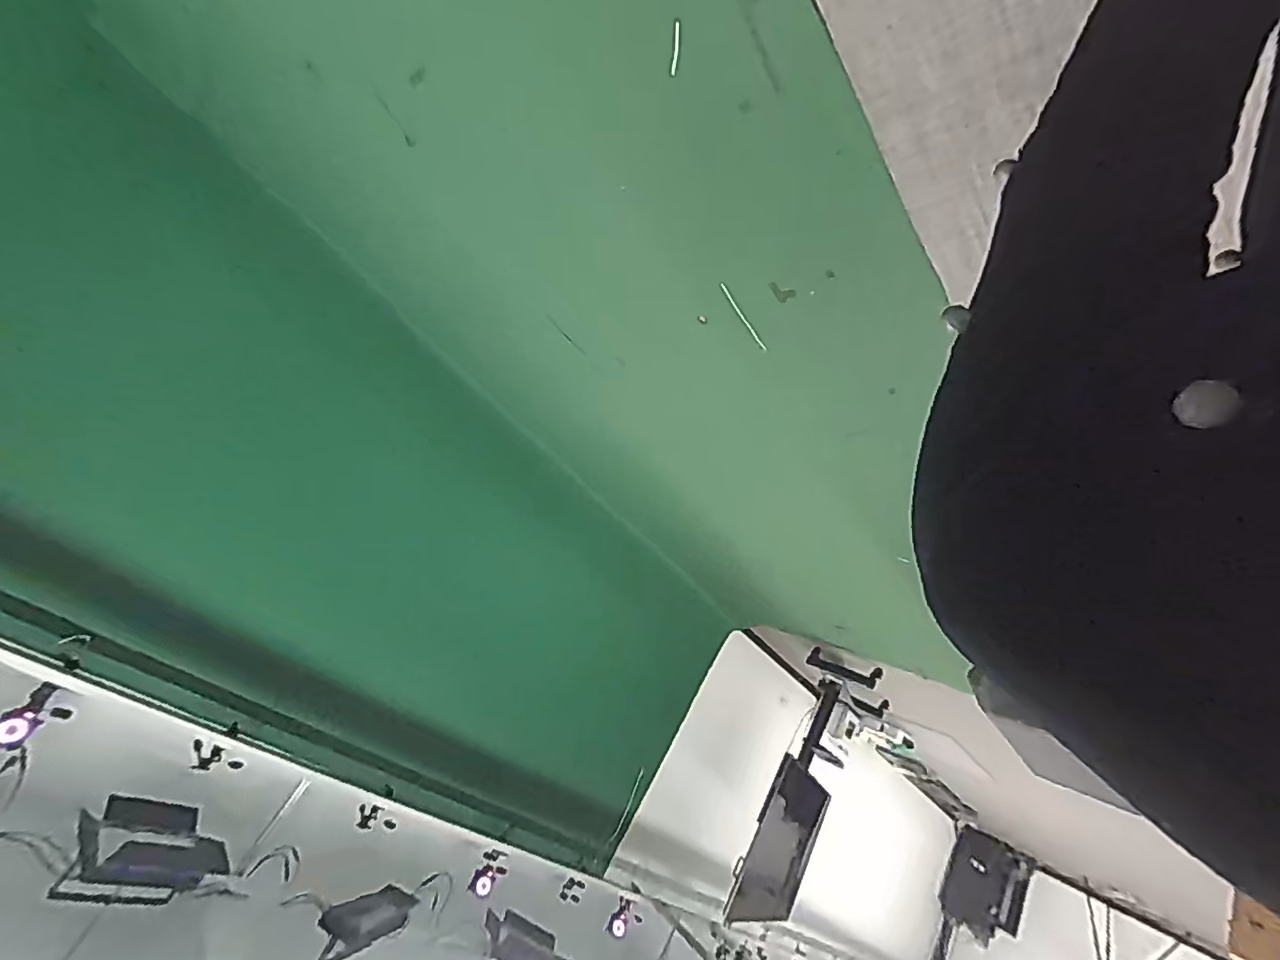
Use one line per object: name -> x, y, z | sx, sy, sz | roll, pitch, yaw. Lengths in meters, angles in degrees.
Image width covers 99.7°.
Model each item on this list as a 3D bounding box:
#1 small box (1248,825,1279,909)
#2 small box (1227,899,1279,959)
small box -> 1.590, 0.966, 1.295 | 0.179, 0.176, 0.168 | 44, 157, -30
small box -> 1.486, 1.093, 1.225 | 0.168, 0.176, 0.179 | 42, 159, -24
